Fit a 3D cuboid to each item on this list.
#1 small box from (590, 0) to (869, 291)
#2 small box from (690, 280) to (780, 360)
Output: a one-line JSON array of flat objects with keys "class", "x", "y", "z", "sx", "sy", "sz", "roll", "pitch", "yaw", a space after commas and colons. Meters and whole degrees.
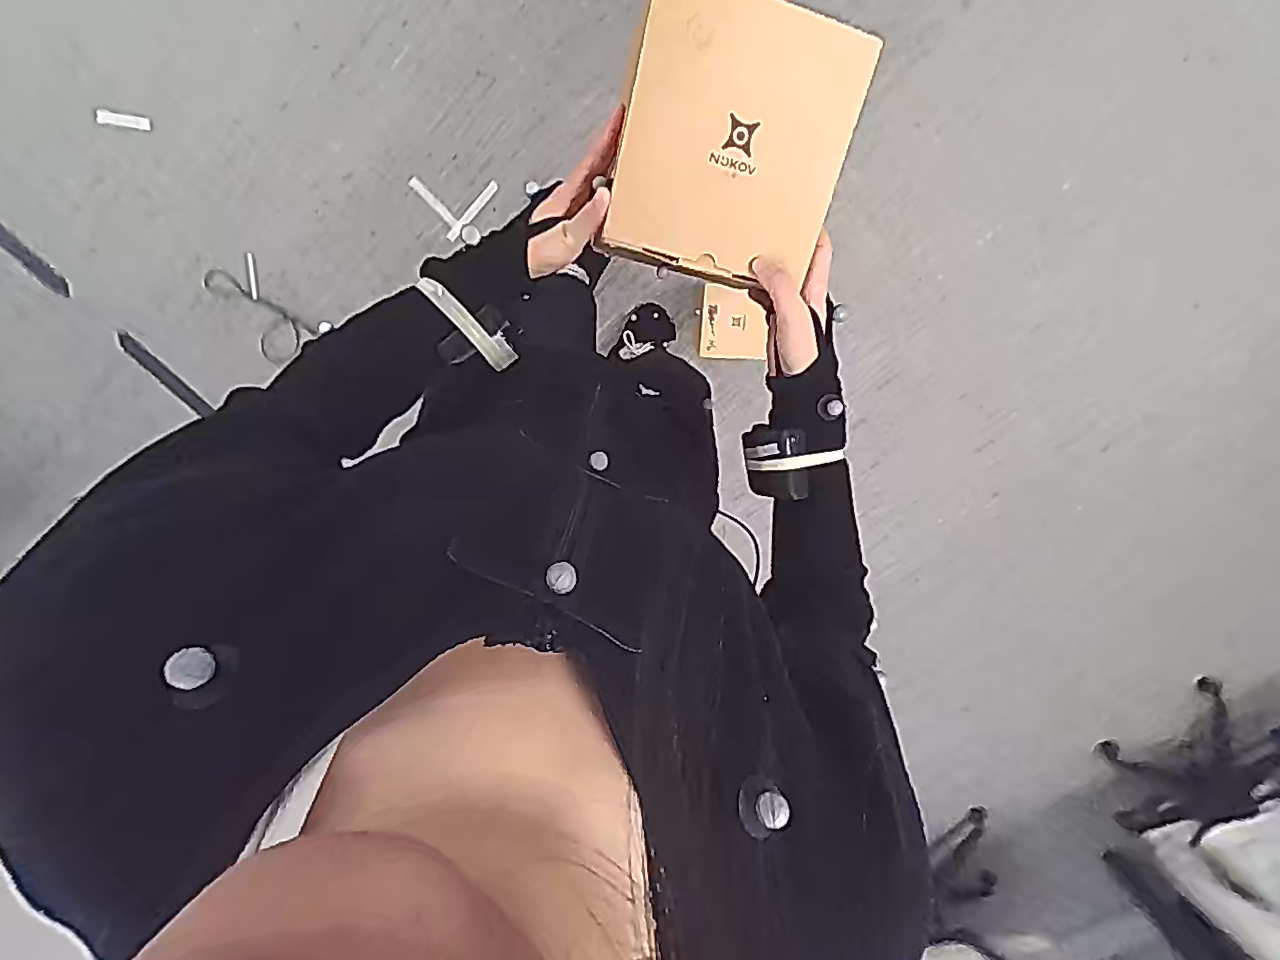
[{"class": "small box", "x": 0.053, "y": -0.275, "z": 0.463, "sx": 0.168, "sy": 0.176, "sz": 0.179, "roll": 9, "pitch": 111, "yaw": -12}, {"class": "small box", "x": 0.222, "y": -0.391, "z": 1.310, "sx": 0.179, "sy": 0.176, "sz": 0.168, "roll": 3, "pitch": 112, "yaw": -1}]
